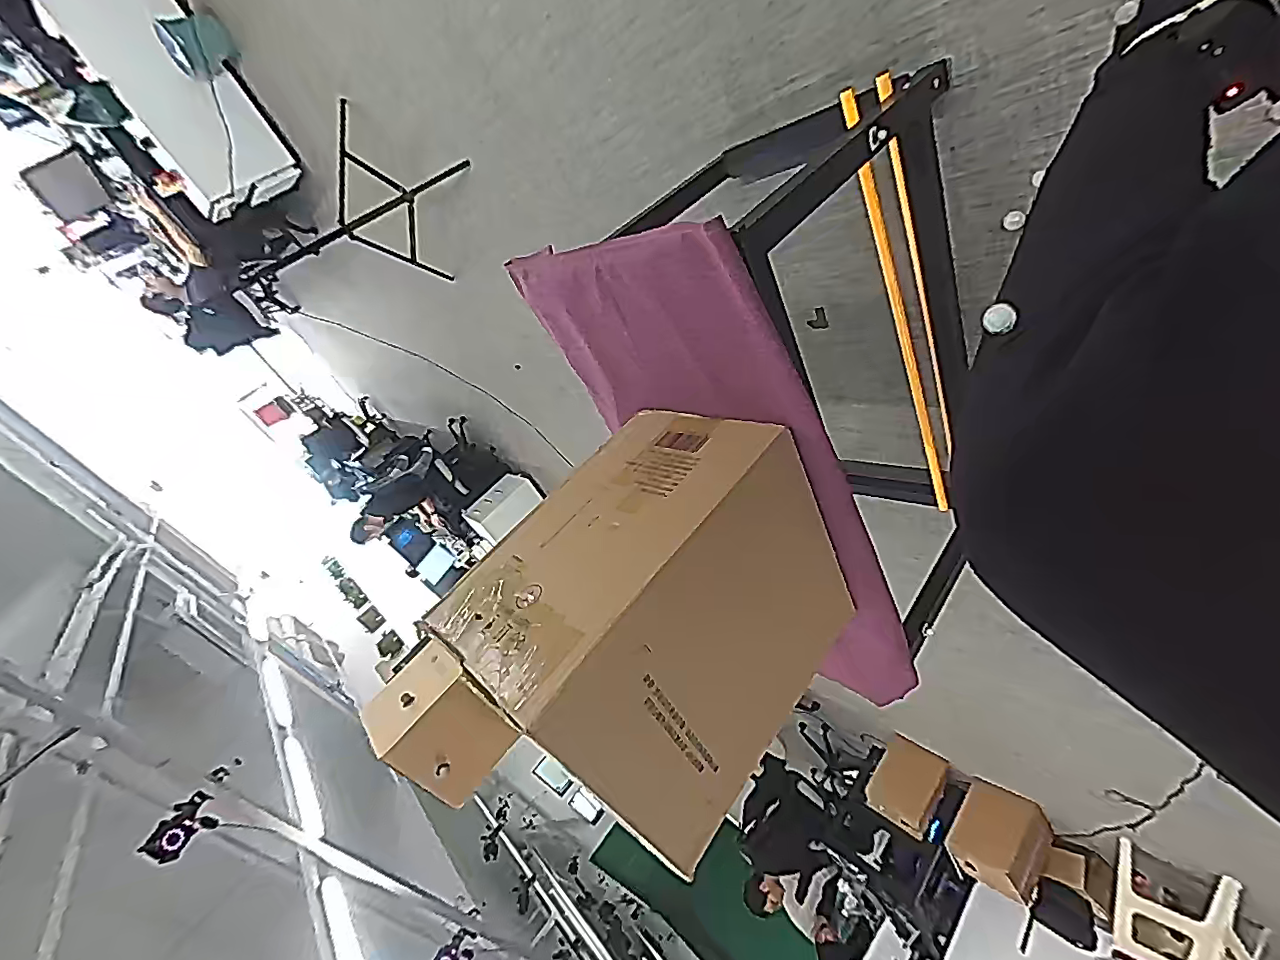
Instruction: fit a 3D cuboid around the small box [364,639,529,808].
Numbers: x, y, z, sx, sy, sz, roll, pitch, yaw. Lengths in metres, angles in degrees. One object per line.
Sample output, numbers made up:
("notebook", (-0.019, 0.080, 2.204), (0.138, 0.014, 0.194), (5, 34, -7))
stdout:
("small box", (-0.326, 0.404, 0.924), (0.168, 0.176, 0.179), (9, 141, 53))
